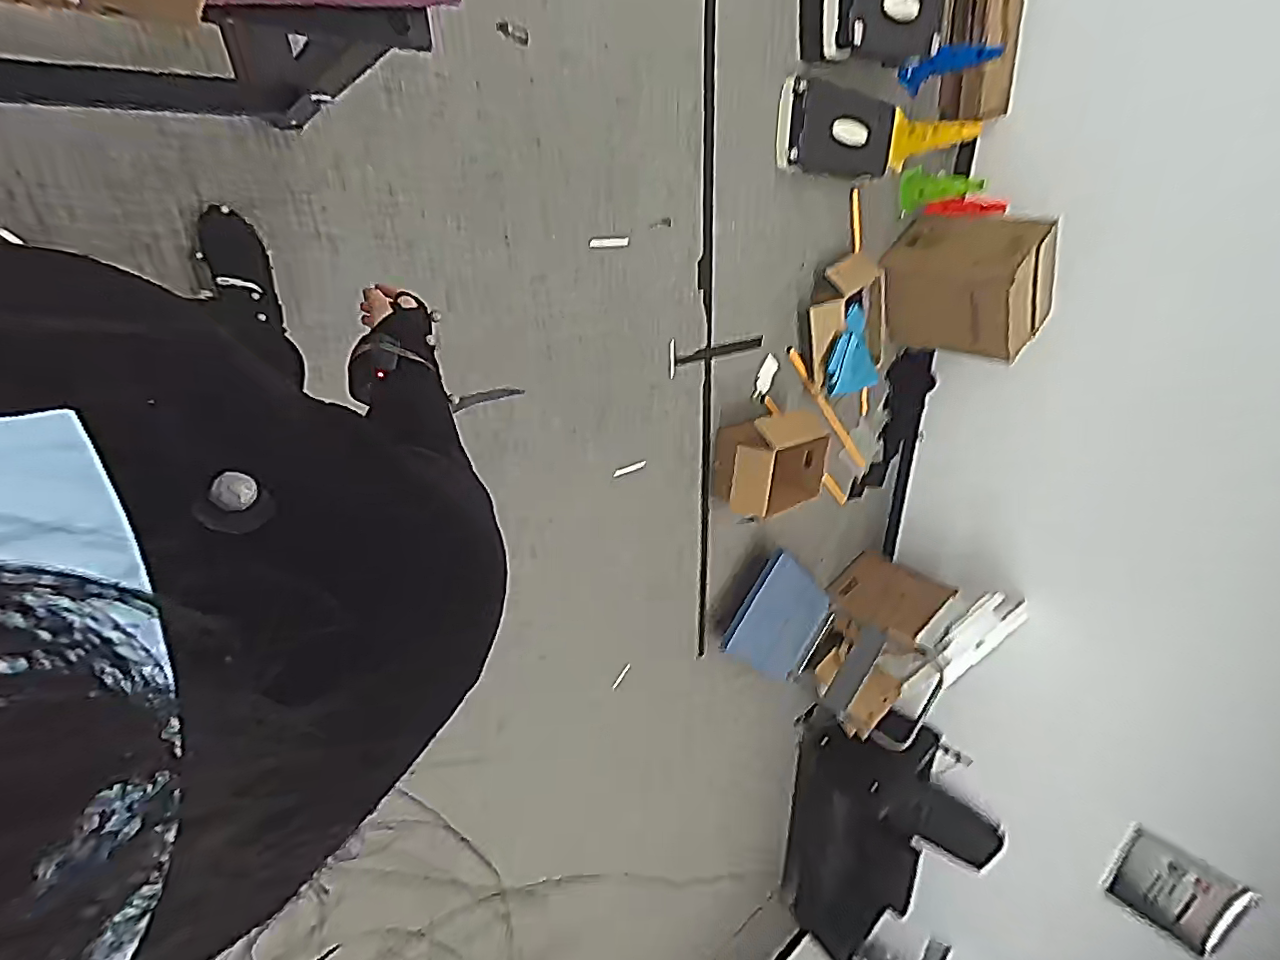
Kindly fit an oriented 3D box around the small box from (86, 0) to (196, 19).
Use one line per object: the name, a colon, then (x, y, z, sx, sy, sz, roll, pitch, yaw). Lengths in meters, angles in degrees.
small box: (-0.428, -0.456, 0.369, 0.168, 0.176, 0.179, -21, 121, -36)
